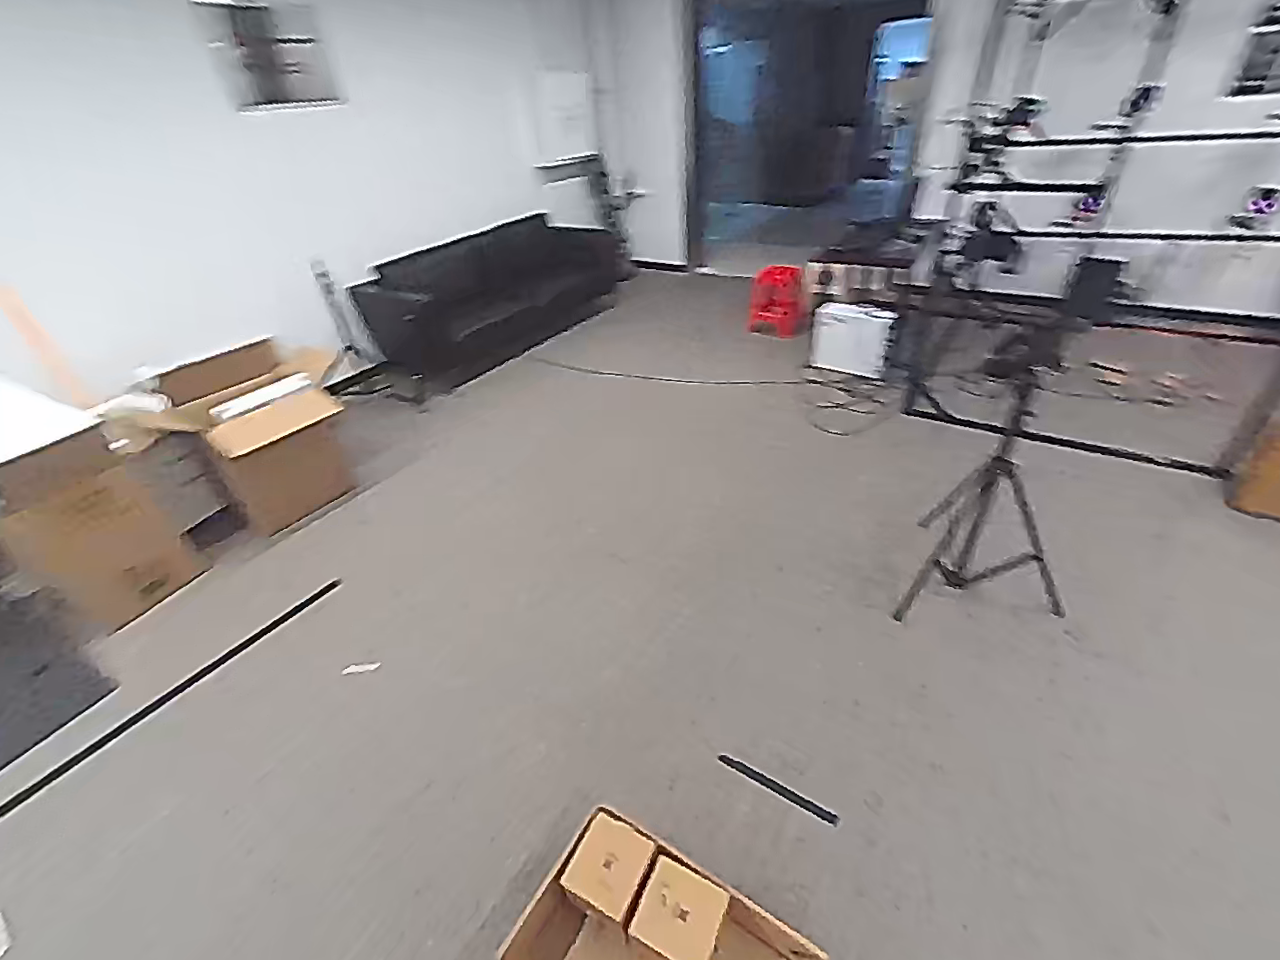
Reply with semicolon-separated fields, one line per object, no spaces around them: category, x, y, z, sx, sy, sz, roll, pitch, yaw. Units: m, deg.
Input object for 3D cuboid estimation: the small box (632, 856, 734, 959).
small box;0.102;1.007;1.224;0.179;0.176;0.168;15;41;25
